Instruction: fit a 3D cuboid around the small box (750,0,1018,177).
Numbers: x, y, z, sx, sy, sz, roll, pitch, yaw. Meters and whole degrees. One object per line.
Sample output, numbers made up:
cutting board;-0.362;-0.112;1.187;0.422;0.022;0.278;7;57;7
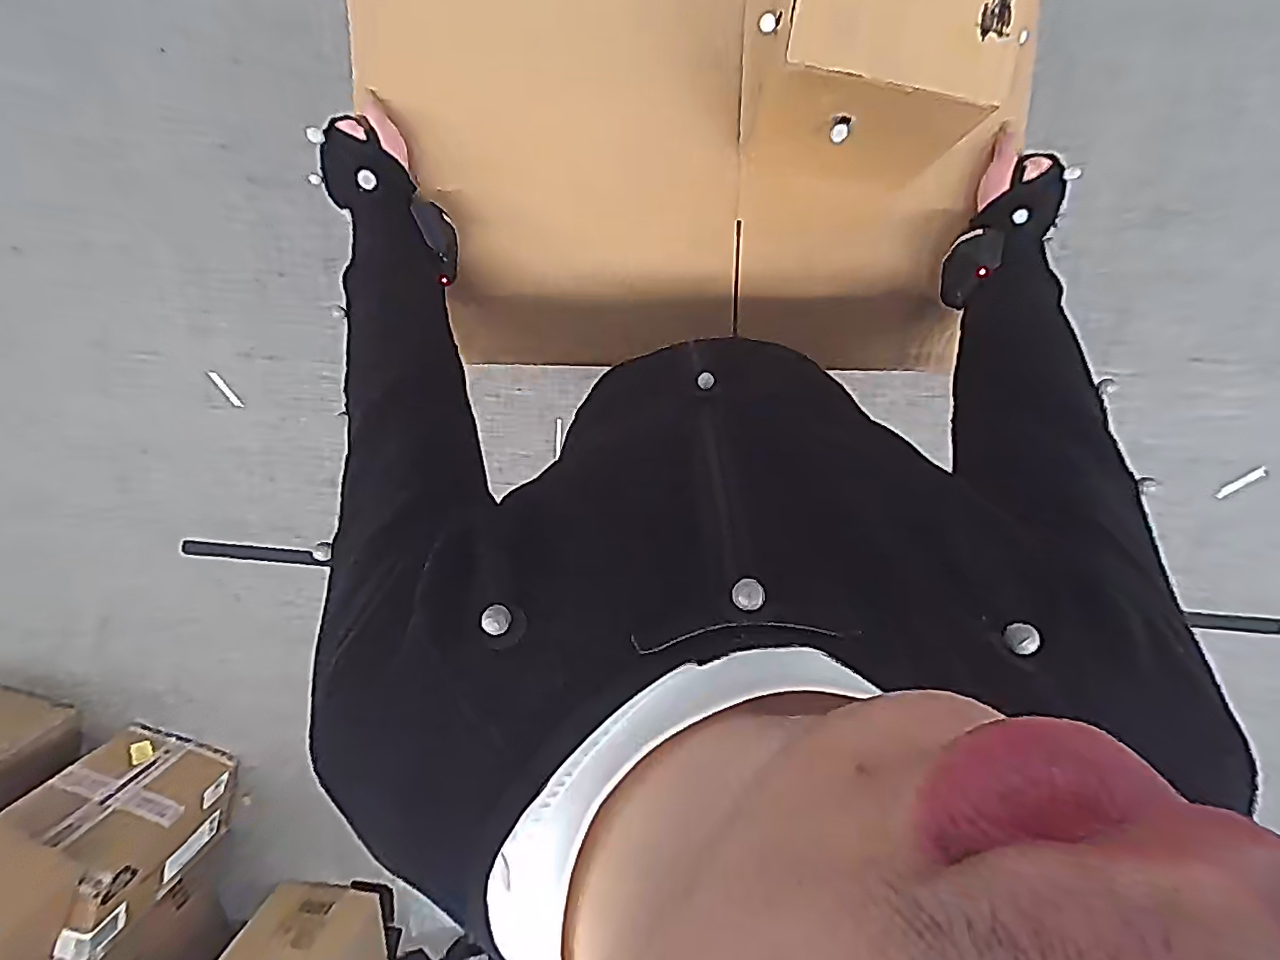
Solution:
small box;0.208;-0.403;0.491;0.179;0.176;0.168;11;99;0
